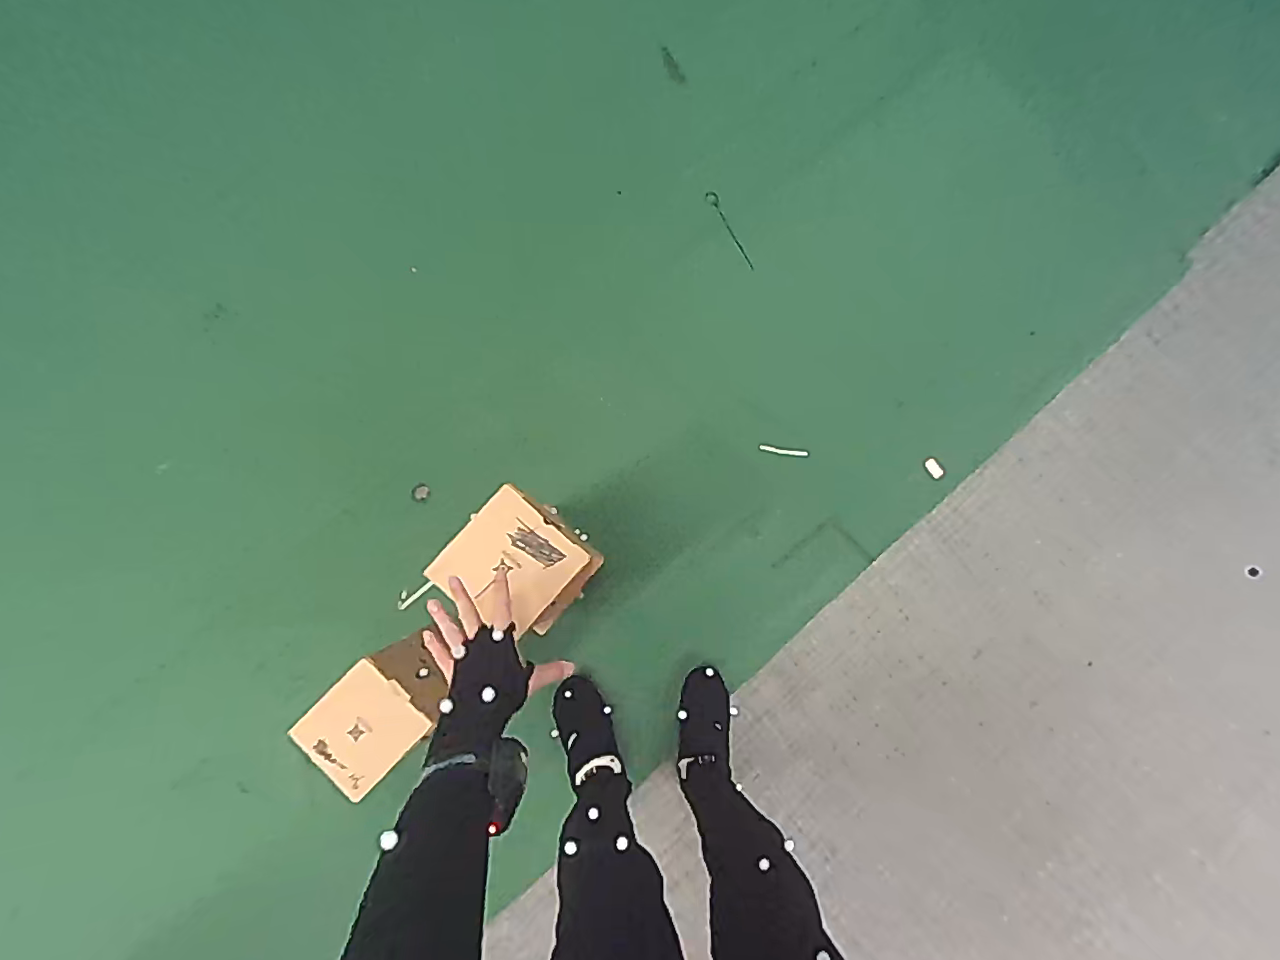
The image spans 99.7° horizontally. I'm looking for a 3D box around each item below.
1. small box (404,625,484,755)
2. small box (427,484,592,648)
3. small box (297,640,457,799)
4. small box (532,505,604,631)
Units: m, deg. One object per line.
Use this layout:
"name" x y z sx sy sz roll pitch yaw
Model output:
"small box" -0.458 0.431 1.142 0.168 0.176 0.179 -43 87 -5
"small box" -0.191 0.128 0.848 0.168 0.176 0.179 42 85 2
"small box" -0.457 0.417 0.978 0.168 0.176 0.179 44 85 3
"small box" -0.183 0.154 1.012 0.179 0.176 0.168 39 85 1
